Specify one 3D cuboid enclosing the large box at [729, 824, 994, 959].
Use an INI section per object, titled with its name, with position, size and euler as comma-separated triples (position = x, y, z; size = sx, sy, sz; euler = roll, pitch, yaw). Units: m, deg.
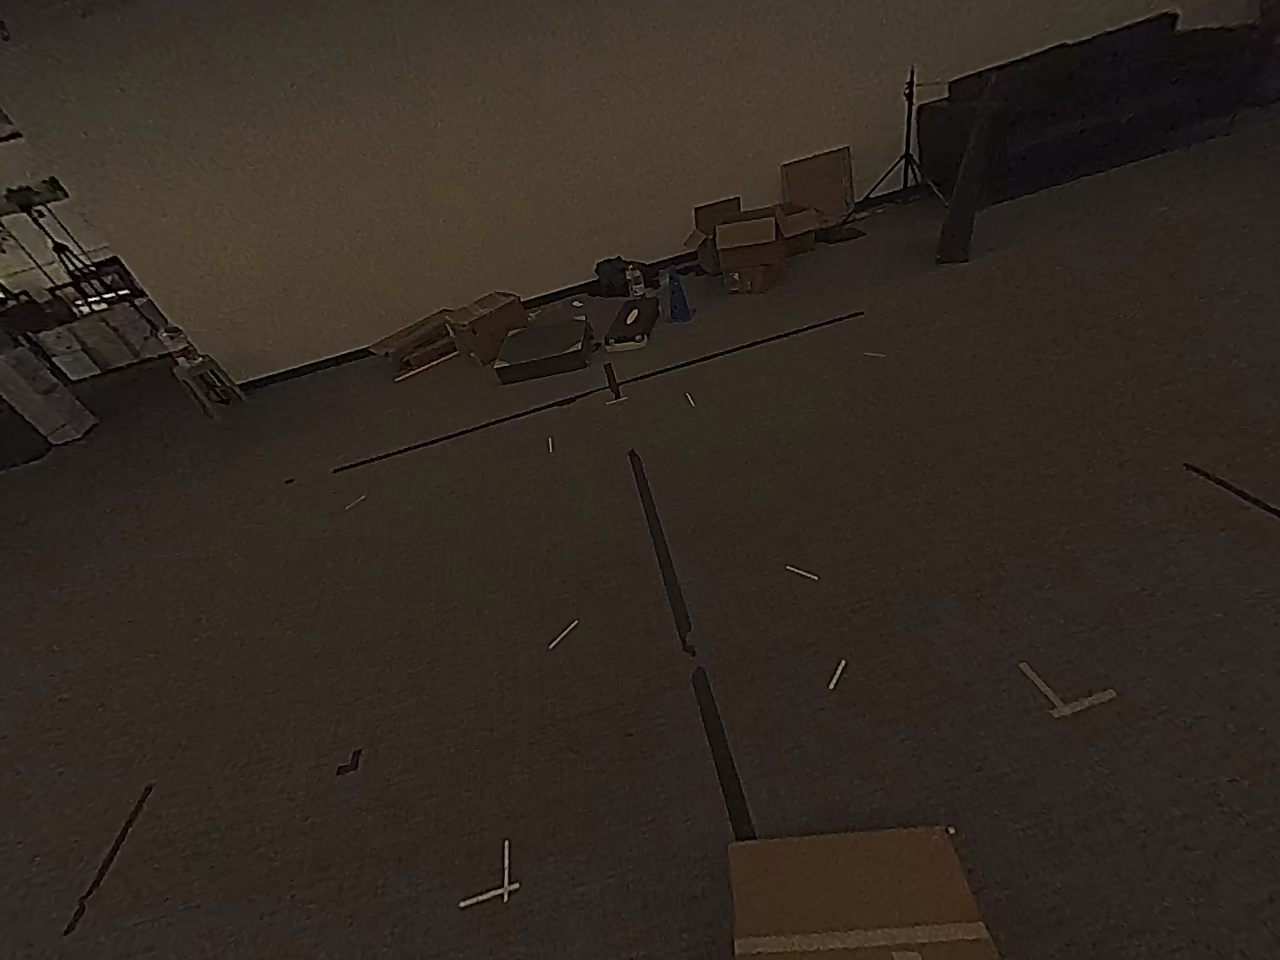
[large box]
position = 0.398, 0.886, 0.999
size = 0.408, 0.320, 0.320
euler = -10, 37, 8
